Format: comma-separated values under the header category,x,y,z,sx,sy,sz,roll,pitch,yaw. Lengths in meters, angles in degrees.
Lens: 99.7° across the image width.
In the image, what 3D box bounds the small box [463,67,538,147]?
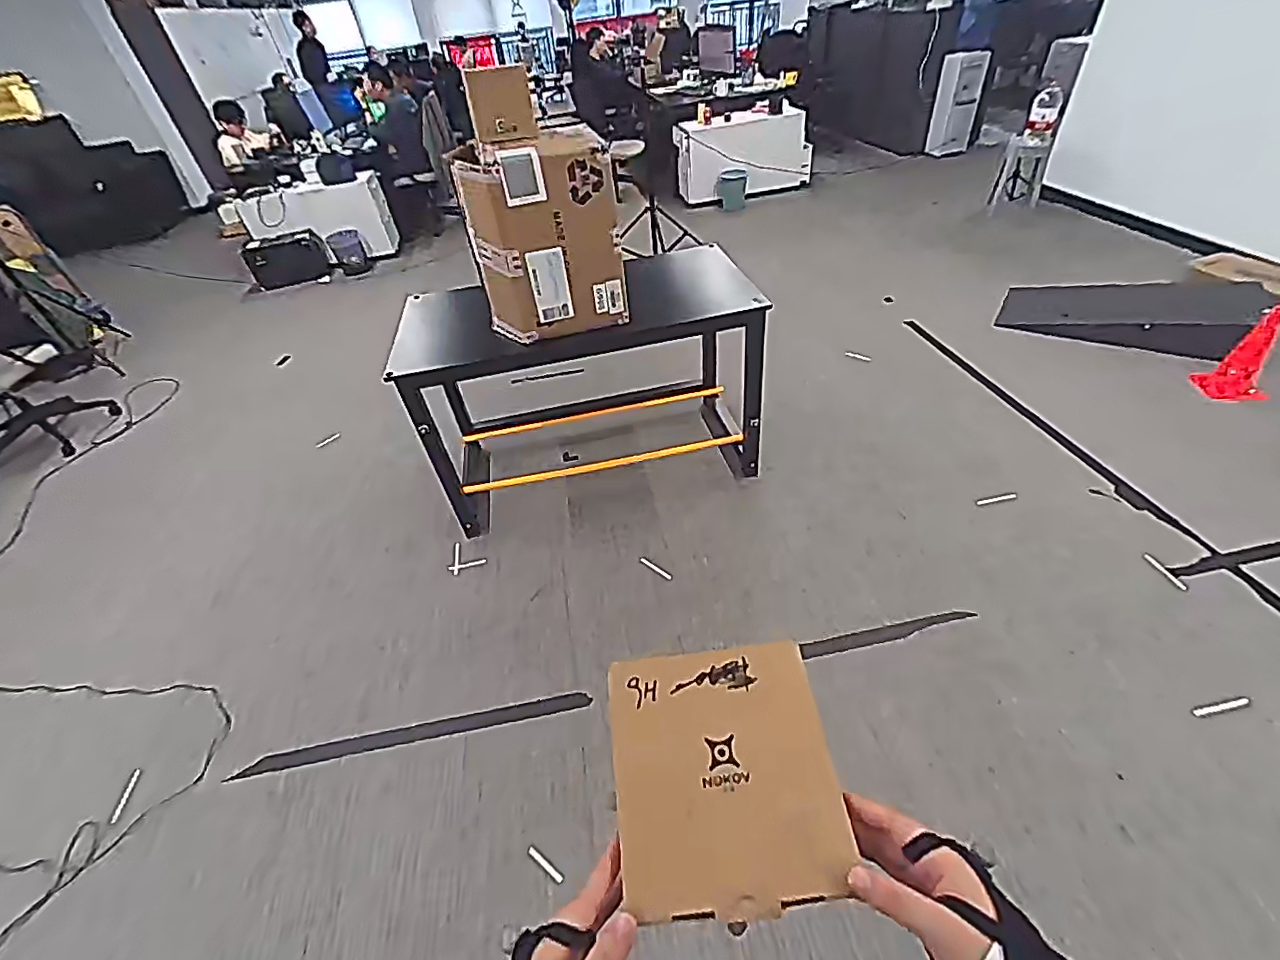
category,x,y,z,sx,sy,sz,roll,pitch,yaw
small box,-0.397,-1.060,1.538,0.168,0.176,0.179,-15,41,-10
